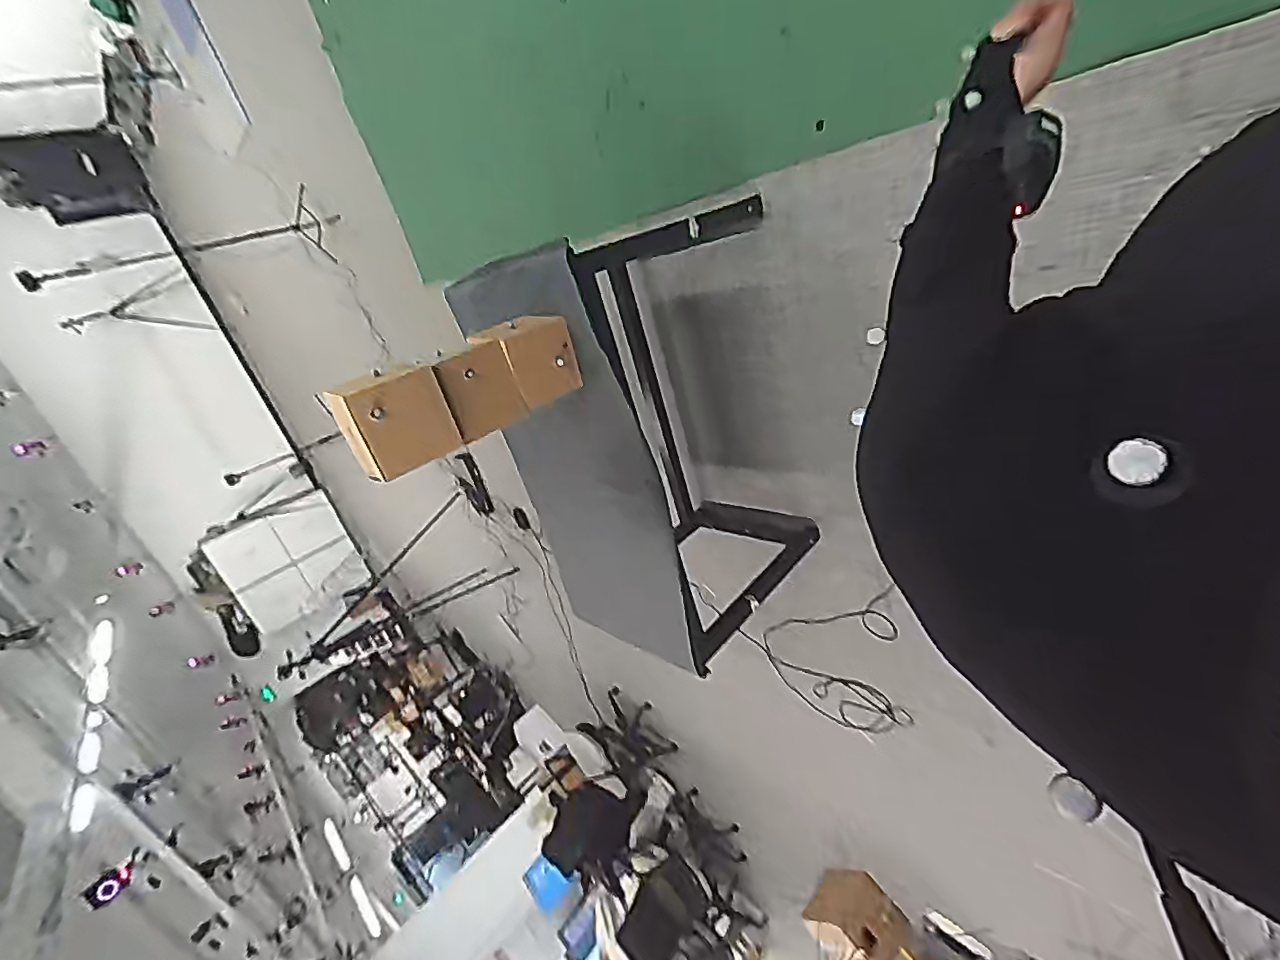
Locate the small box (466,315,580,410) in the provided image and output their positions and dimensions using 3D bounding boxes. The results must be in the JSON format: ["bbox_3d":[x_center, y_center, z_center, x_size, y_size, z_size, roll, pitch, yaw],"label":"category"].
[{"bbox_3d":[-0.266,-0.276,1.251,0.179,0.176,0.168,18,132,44],"label":"small box"}]

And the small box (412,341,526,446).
[{"bbox_3d":[-0.377,-0.191,1.168,0.168,0.176,0.179,11,127,50],"label":"small box"}]

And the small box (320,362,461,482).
[{"bbox_3d":[-0.483,-0.123,1.059,0.168,0.176,0.179,17,131,47],"label":"small box"}]
